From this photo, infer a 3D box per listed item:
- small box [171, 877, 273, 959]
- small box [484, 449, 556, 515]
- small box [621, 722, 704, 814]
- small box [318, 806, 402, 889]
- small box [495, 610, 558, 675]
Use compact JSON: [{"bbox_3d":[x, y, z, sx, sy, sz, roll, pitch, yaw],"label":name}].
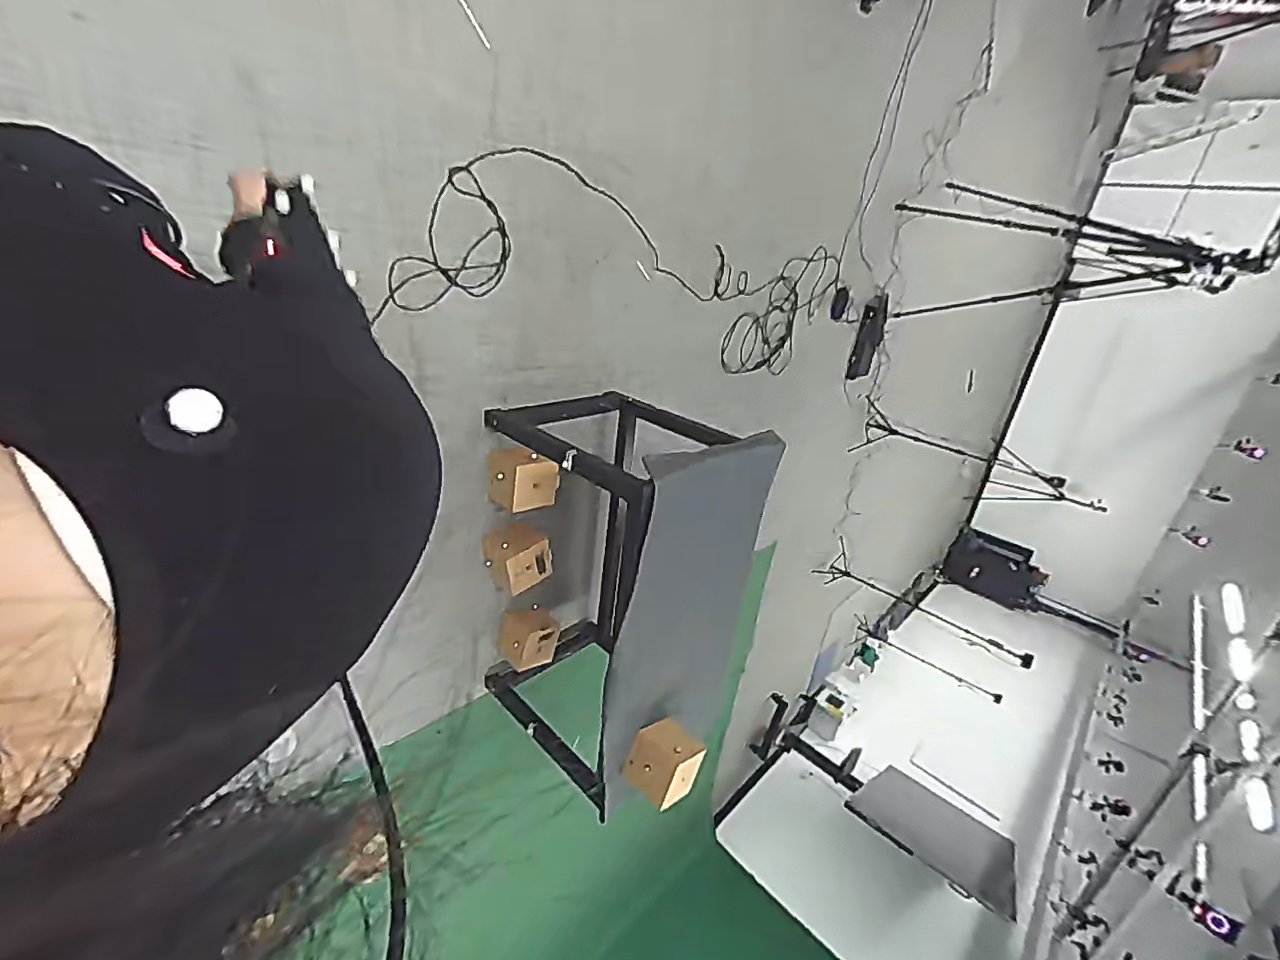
[{"bbox_3d":[-1.255,1.342,1.618,0.168,0.176,0.179,-60,143,-3],"label":"small box"},{"bbox_3d":[-0.412,0.001,1.842,0.179,0.176,0.168,-12,119,-46],"label":"small box"},{"bbox_3d":[0.069,0.904,1.716,0.179,0.176,0.168,11,102,-54],"label":"small box"},{"bbox_3d":[-0.986,1.292,1.906,0.168,0.176,0.179,-46,140,-22],"label":"small box"},{"bbox_3d":[-0.455,0.636,2.150,0.168,0.176,0.179,0,112,-49],"label":"small box"}]
